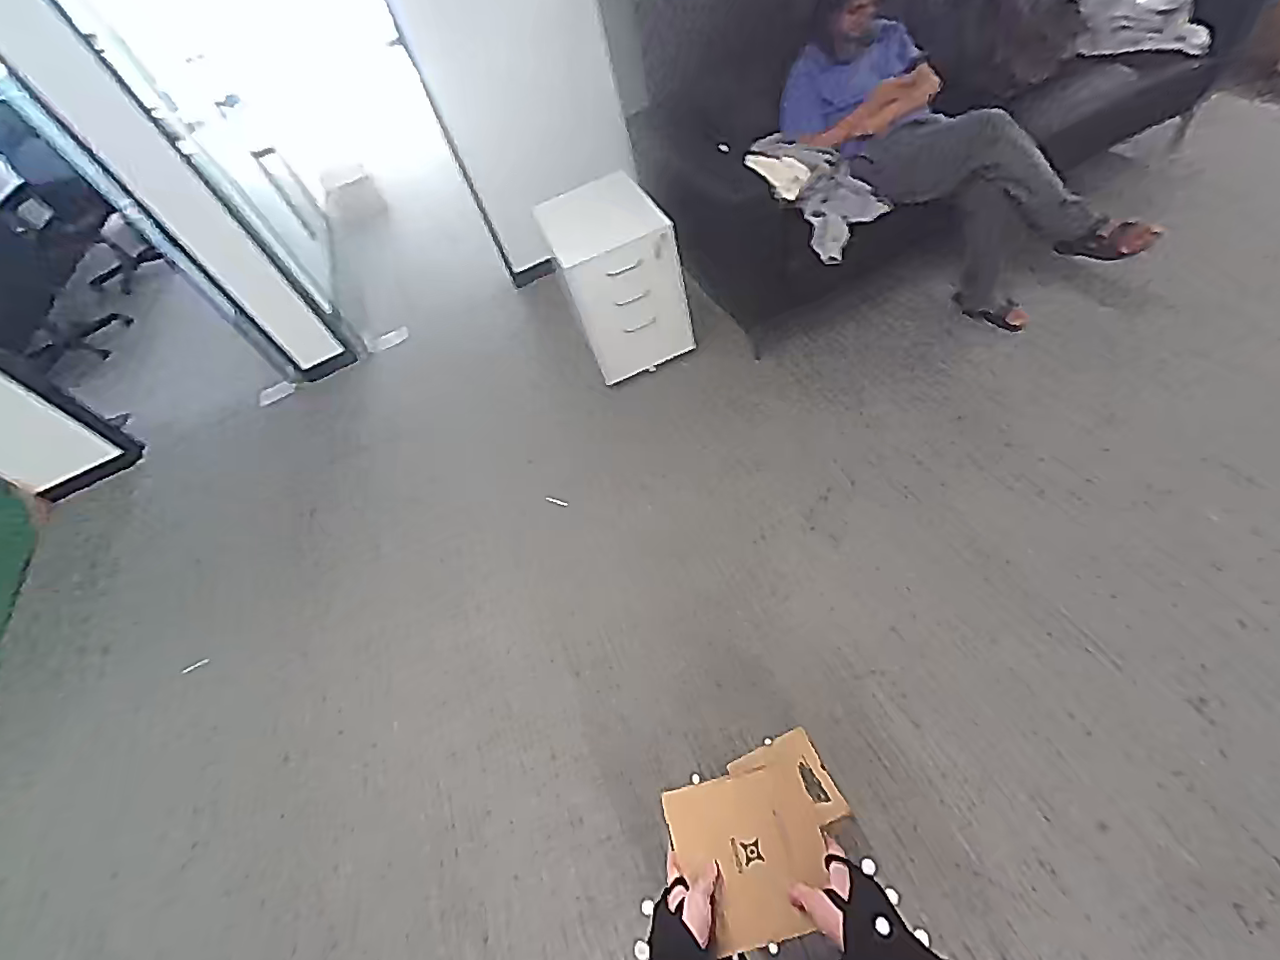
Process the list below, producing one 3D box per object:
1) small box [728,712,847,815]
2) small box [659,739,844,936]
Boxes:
[{"bbox_3d":[0.300,0.612,1.121,0.179,0.176,0.168,-26,52,-3],"label":"small box"},{"bbox_3d":[0.138,0.456,0.705,0.179,0.176,0.168,-17,59,-1],"label":"small box"}]
